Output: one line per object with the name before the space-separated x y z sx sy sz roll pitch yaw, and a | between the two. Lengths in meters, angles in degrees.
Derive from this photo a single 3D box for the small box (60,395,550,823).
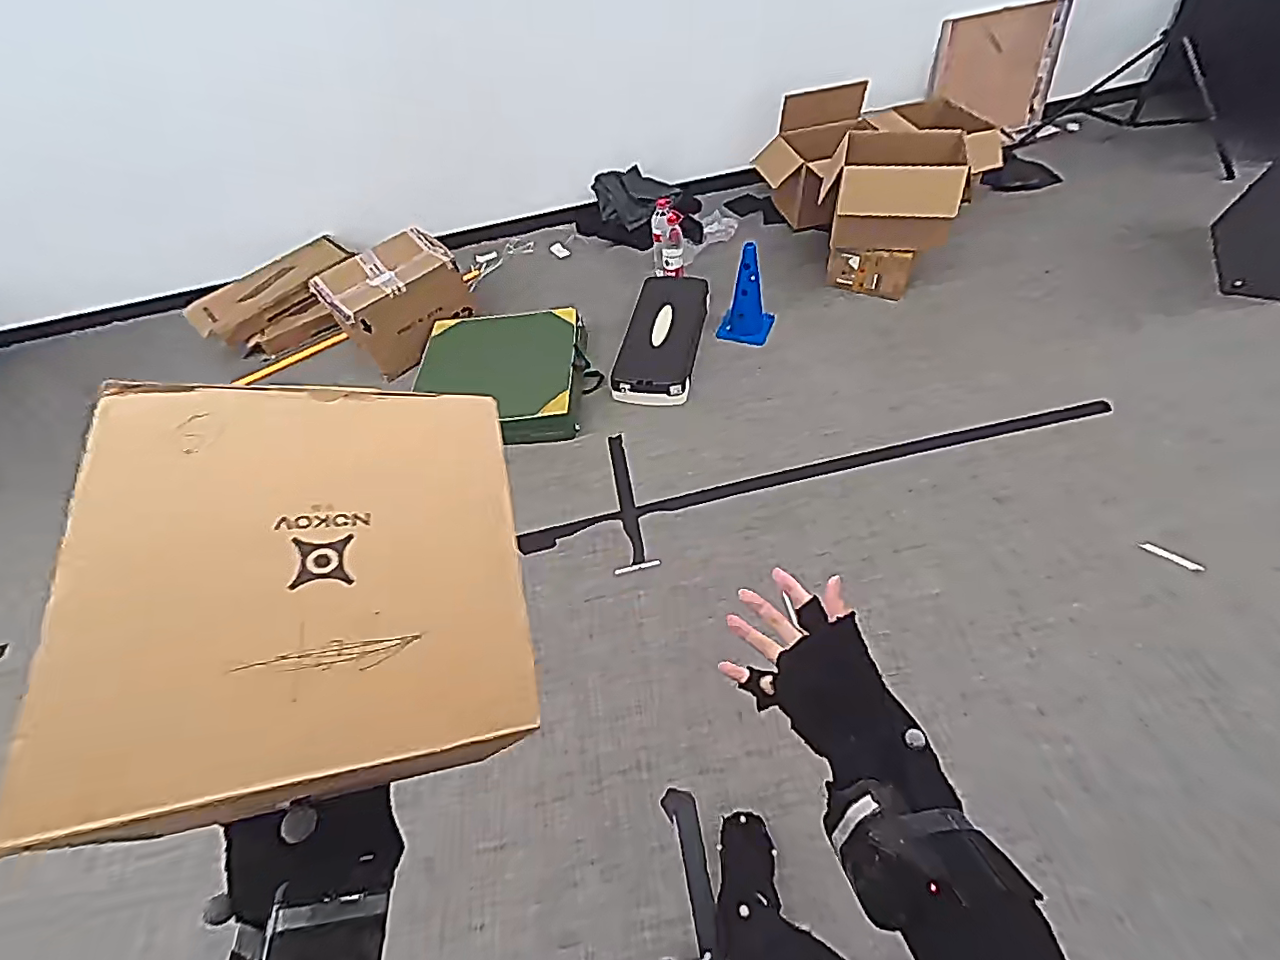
small box | -0.162 0.076 0.307 0.168 0.176 0.179 -1 61 -26
